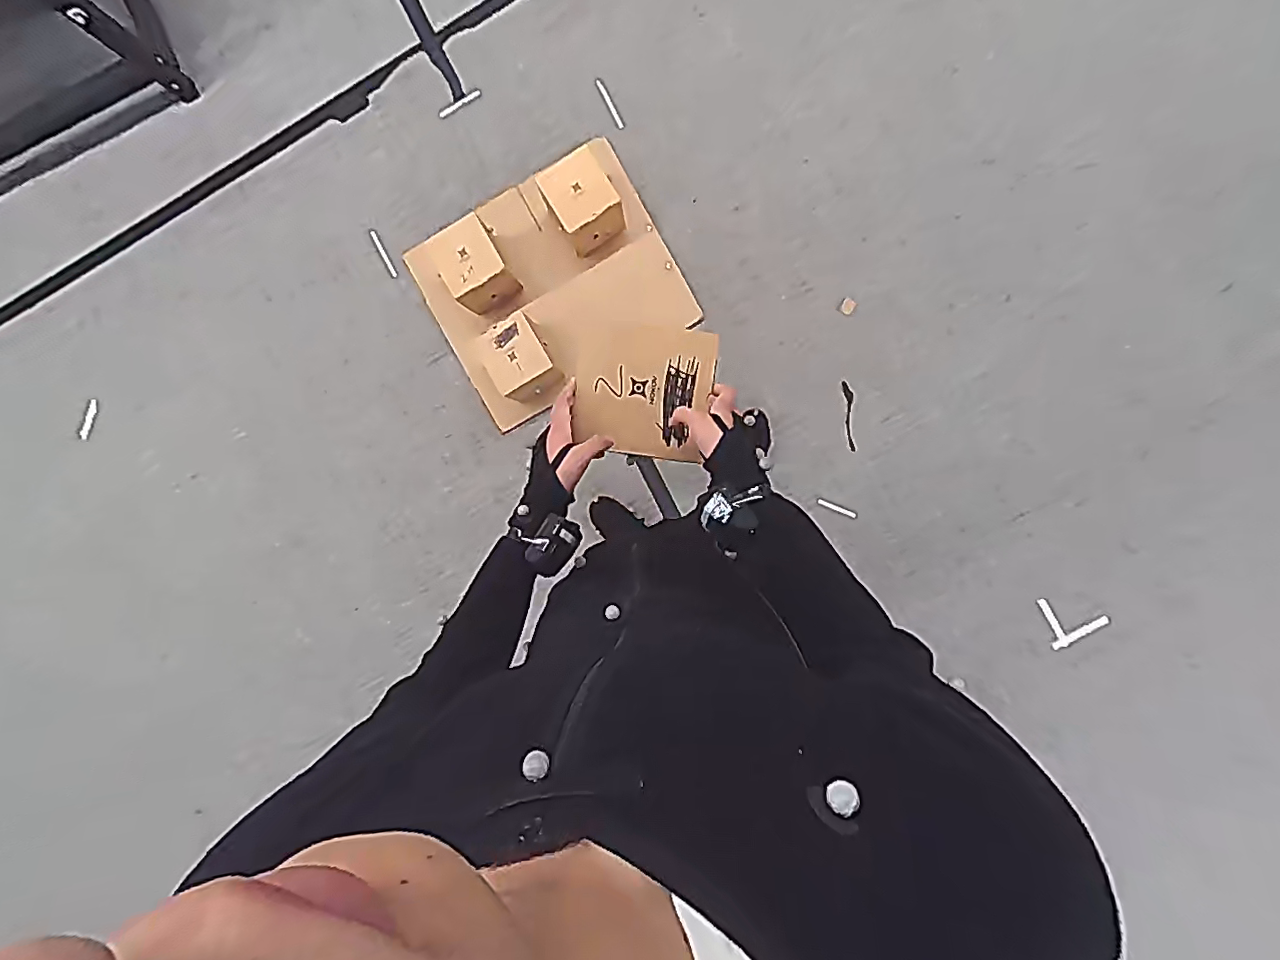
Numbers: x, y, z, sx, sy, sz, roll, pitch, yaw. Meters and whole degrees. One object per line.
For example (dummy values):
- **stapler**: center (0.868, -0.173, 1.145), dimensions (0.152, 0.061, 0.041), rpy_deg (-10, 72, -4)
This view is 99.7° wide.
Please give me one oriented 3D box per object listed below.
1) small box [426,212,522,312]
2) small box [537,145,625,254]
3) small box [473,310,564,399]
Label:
- **small box**: center (-0.458, -0.602, 1.516), dimensions (0.168, 0.176, 0.179), rpy_deg (-29, 91, 5)
- **small box**: center (-0.156, -0.766, 1.498), dimensions (0.168, 0.176, 0.179), rpy_deg (-33, 91, 4)
- **small box**: center (-0.336, -0.344, 1.525), dimensions (0.168, 0.176, 0.179), rpy_deg (-30, 92, 5)
